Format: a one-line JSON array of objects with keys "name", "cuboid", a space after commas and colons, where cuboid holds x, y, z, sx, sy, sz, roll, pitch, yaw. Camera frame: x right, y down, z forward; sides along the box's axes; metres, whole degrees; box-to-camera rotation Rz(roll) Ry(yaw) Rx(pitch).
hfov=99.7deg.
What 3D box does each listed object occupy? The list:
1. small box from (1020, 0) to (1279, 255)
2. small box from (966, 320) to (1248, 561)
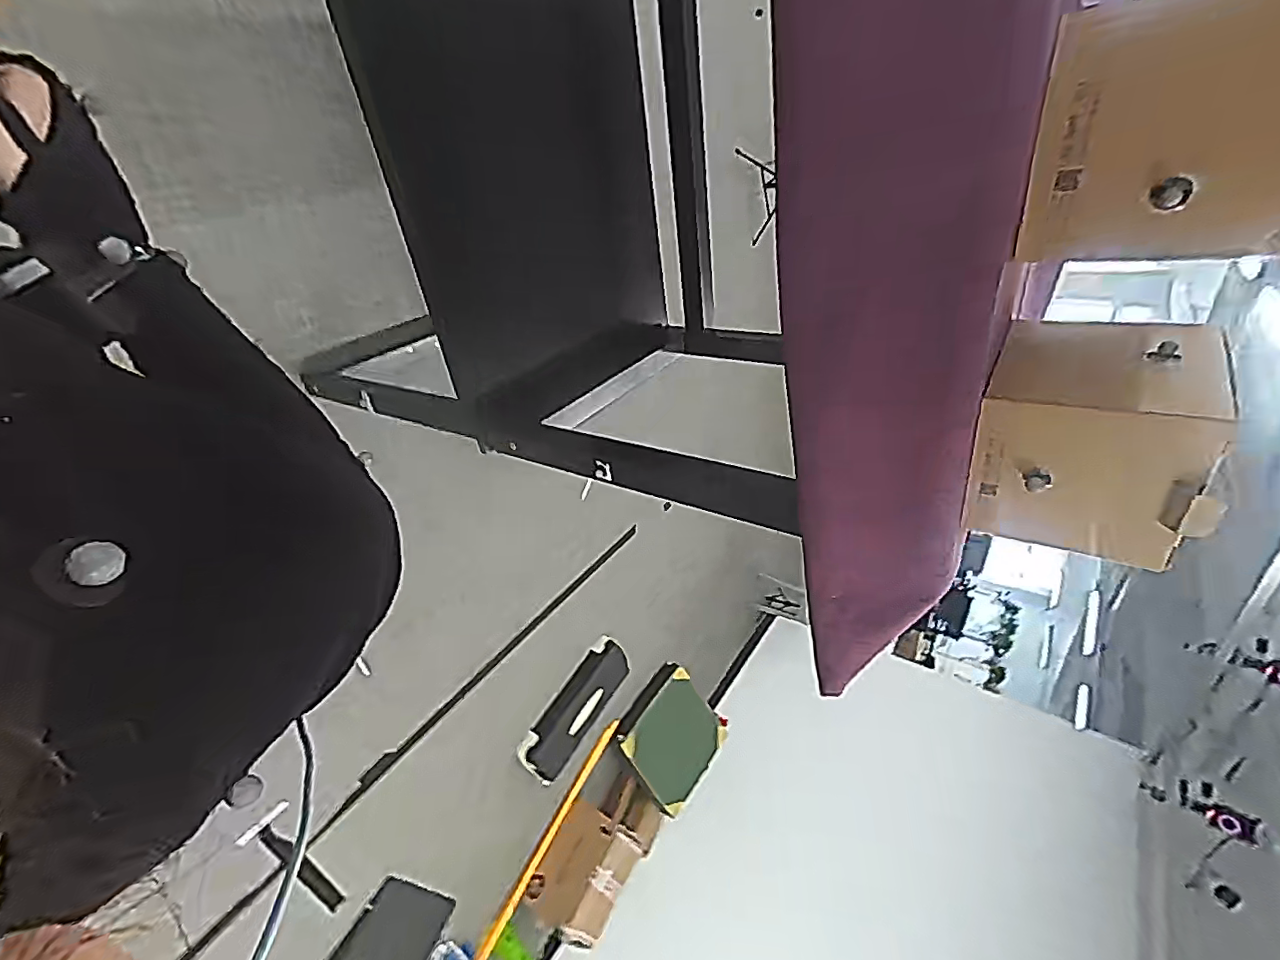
[{"name": "small box", "cuboid": [0.417, -0.284, 0.422, 0.179, 0.176, 0.168, -44, 136, -38]}, {"name": "small box", "cuboid": [0.450, -0.053, 0.547, 0.179, 0.176, 0.168, -47, 136, -36]}]
